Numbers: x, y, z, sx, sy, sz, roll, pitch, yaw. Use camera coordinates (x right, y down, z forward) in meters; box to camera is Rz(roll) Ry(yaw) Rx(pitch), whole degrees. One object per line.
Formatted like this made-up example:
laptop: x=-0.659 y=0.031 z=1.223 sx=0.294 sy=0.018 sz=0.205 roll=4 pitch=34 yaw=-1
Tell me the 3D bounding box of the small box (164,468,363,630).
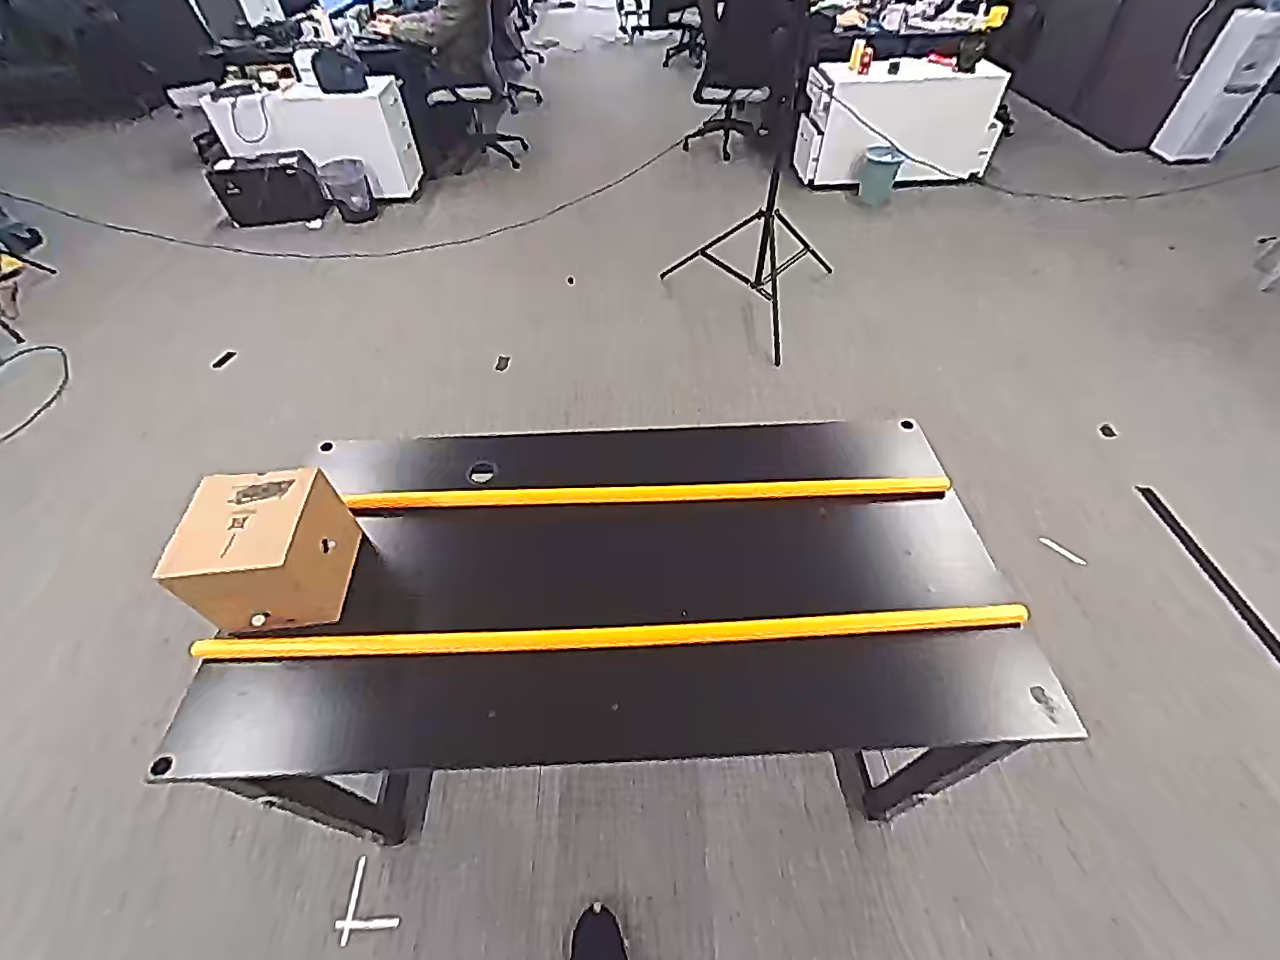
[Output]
small box: x=-0.544 y=0.105 z=0.817 sx=0.168 sy=0.176 sz=0.179 roll=-6 pitch=50 yaw=-3
